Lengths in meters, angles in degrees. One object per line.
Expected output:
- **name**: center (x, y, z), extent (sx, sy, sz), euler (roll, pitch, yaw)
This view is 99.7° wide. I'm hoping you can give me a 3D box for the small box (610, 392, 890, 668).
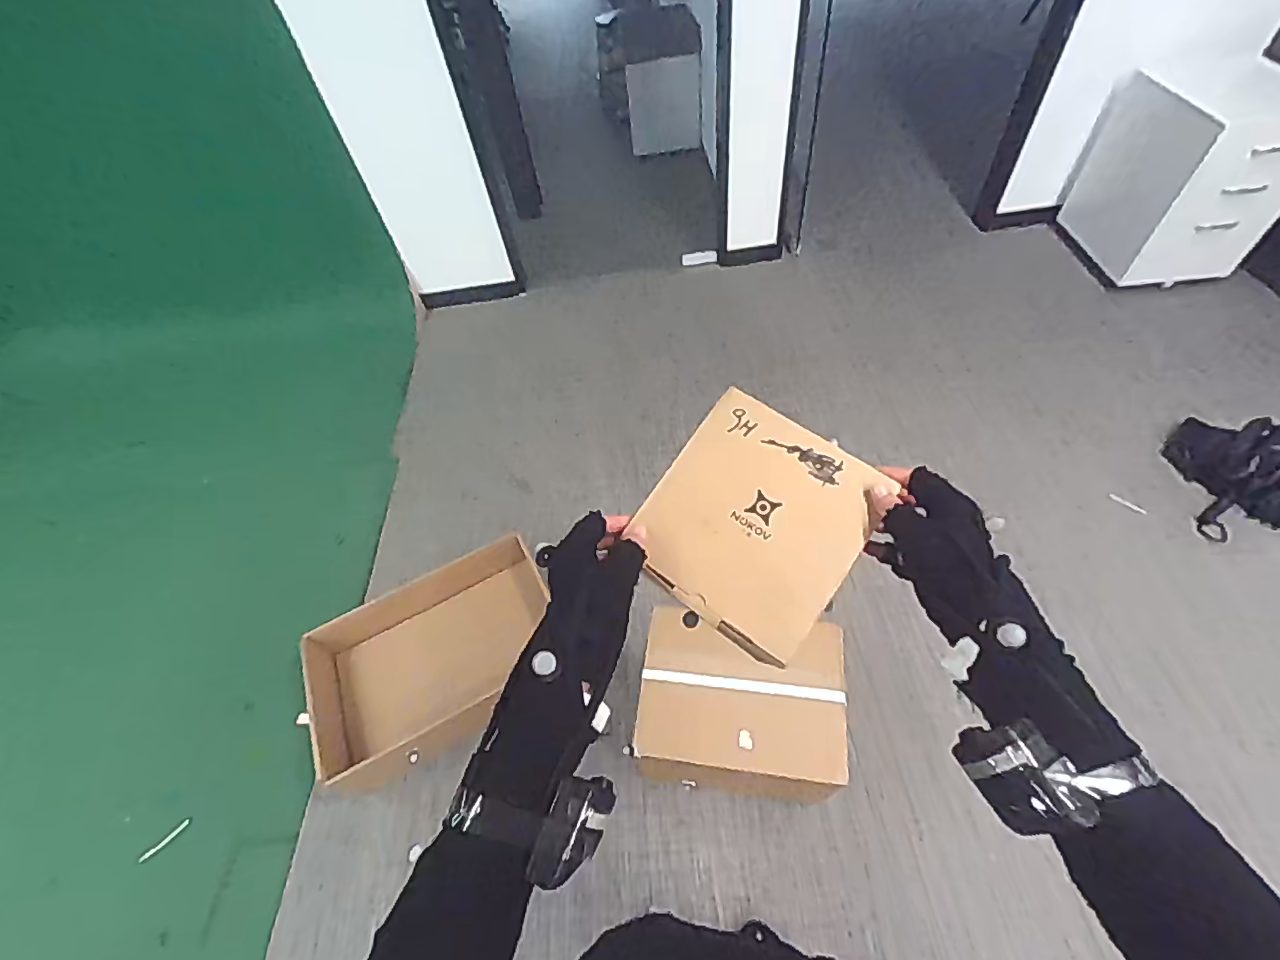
- **small box**: center (0.099, 0.056, 0.516), extent (0.168, 0.176, 0.179), euler (34, 79, 16)
